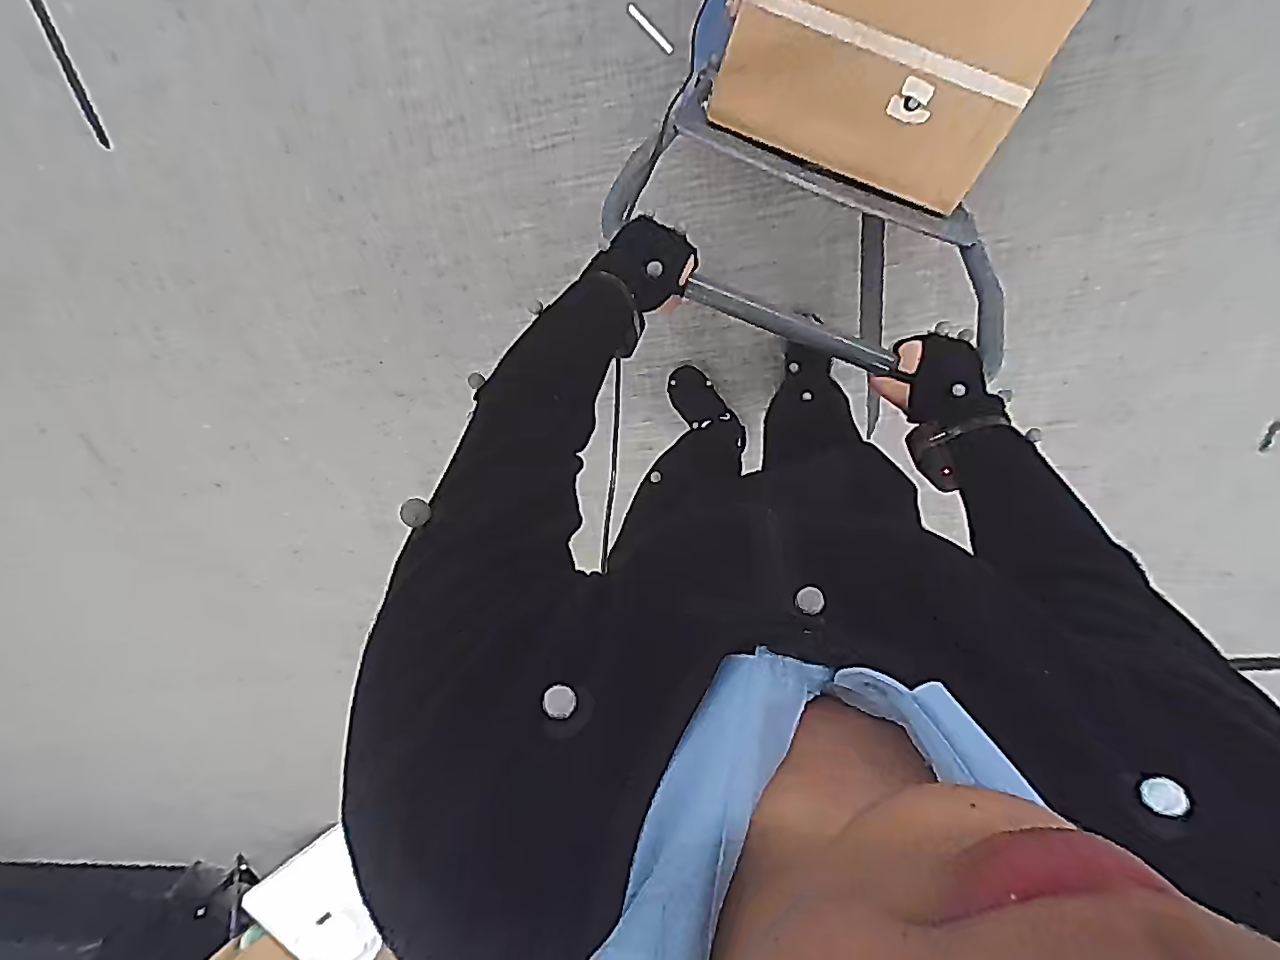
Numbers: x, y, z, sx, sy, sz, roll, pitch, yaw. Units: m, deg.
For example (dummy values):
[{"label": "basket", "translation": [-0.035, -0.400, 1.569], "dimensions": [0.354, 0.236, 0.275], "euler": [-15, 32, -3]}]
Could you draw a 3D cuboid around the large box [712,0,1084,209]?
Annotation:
[{"label": "large box", "translation": [0.364, -0.683, 0.837], "dimensions": [0.408, 0.320, 0.320], "euler": [21, 135, -1]}]
